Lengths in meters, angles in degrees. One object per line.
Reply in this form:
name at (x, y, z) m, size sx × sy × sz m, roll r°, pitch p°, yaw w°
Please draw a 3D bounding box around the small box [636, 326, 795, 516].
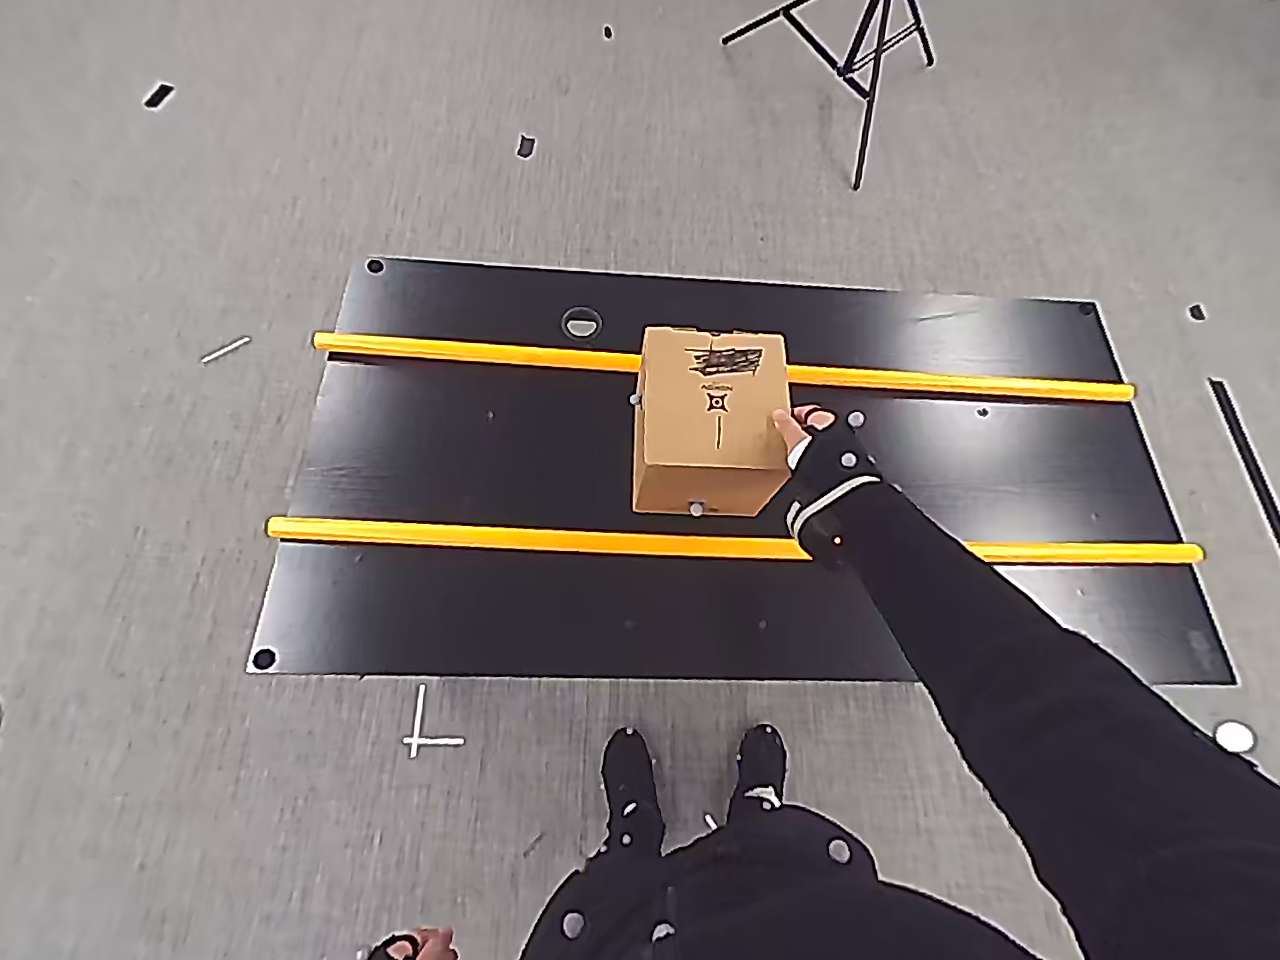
small box at (0.082, -0.066, 0.680) m, size 0.168 × 0.176 × 0.179 m, roll 3°, pitch 69°, yaw -3°
